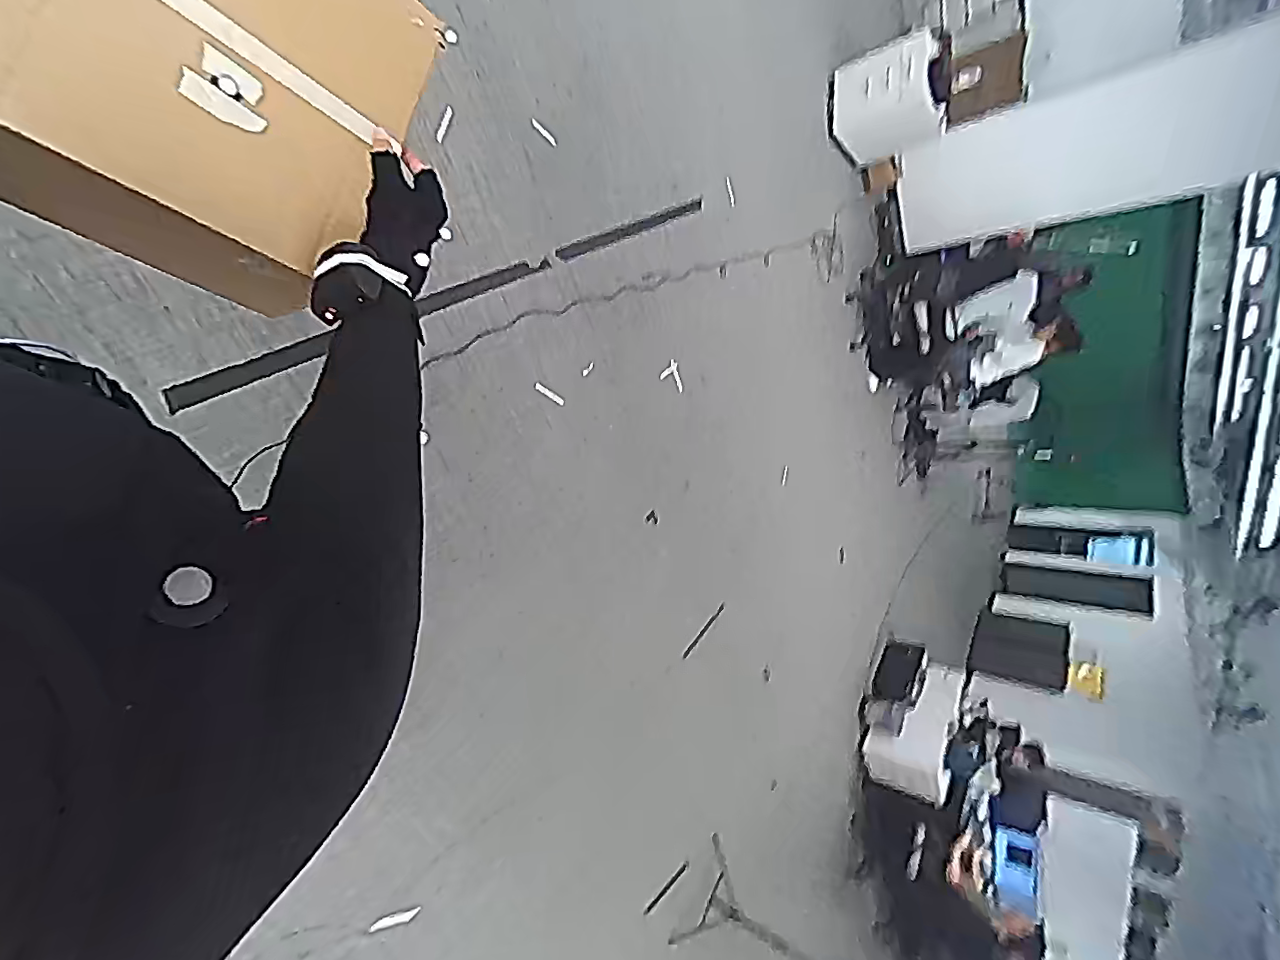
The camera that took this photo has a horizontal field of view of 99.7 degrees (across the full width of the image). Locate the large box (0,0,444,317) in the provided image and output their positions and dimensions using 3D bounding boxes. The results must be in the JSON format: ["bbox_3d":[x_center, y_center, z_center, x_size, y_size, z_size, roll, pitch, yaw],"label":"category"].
[{"bbox_3d":[-0.489,-0.406,0.536,0.408,0.320,0.320,24,81,-45],"label":"large box"}]
